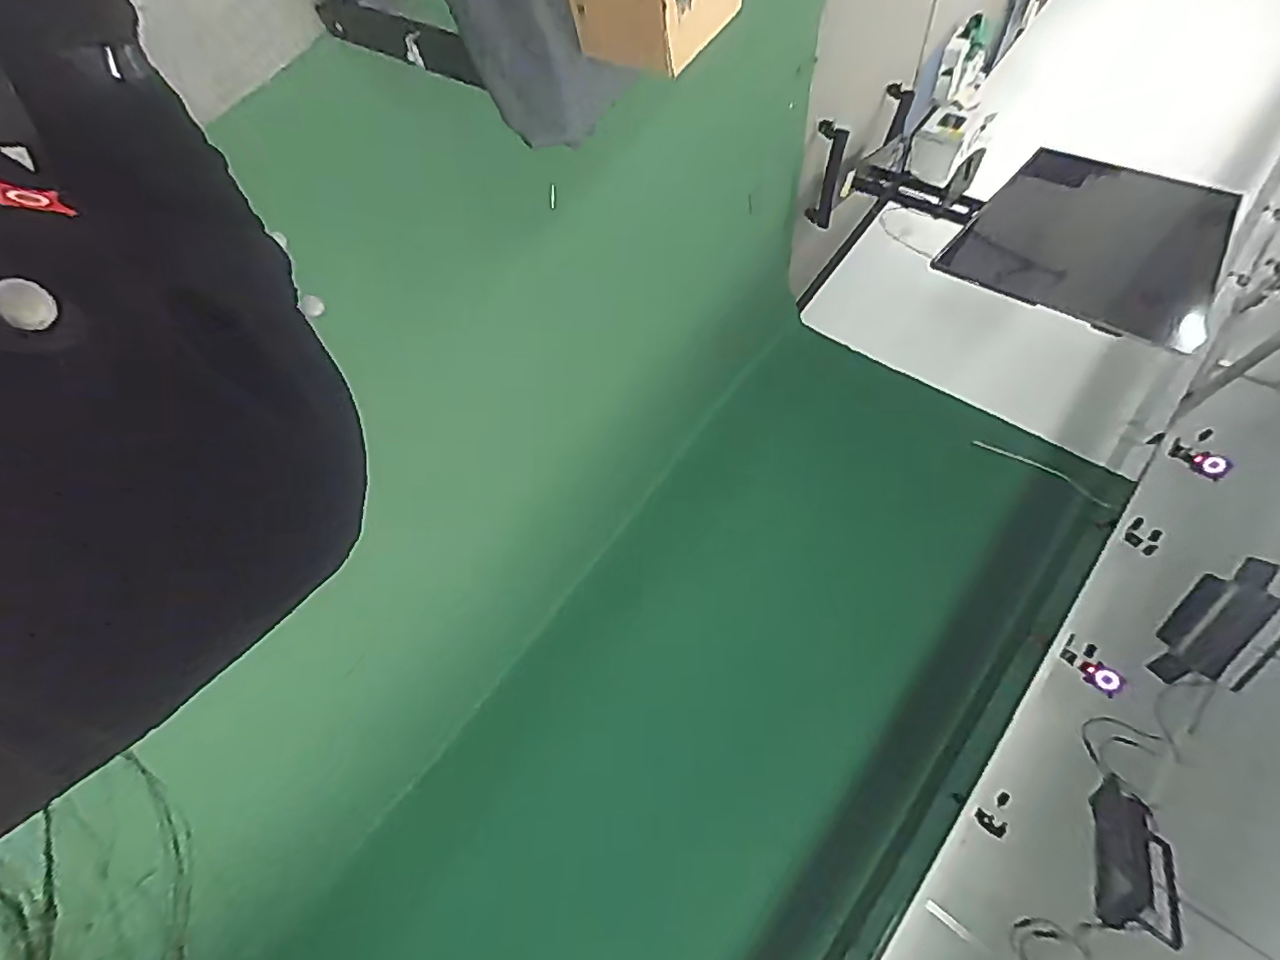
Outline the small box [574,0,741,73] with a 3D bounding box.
[{"bbox_3d":[0.016,-0.688,0.714,0.179,0.176,0.168,-52,158,-13],"label":"small box"}]
